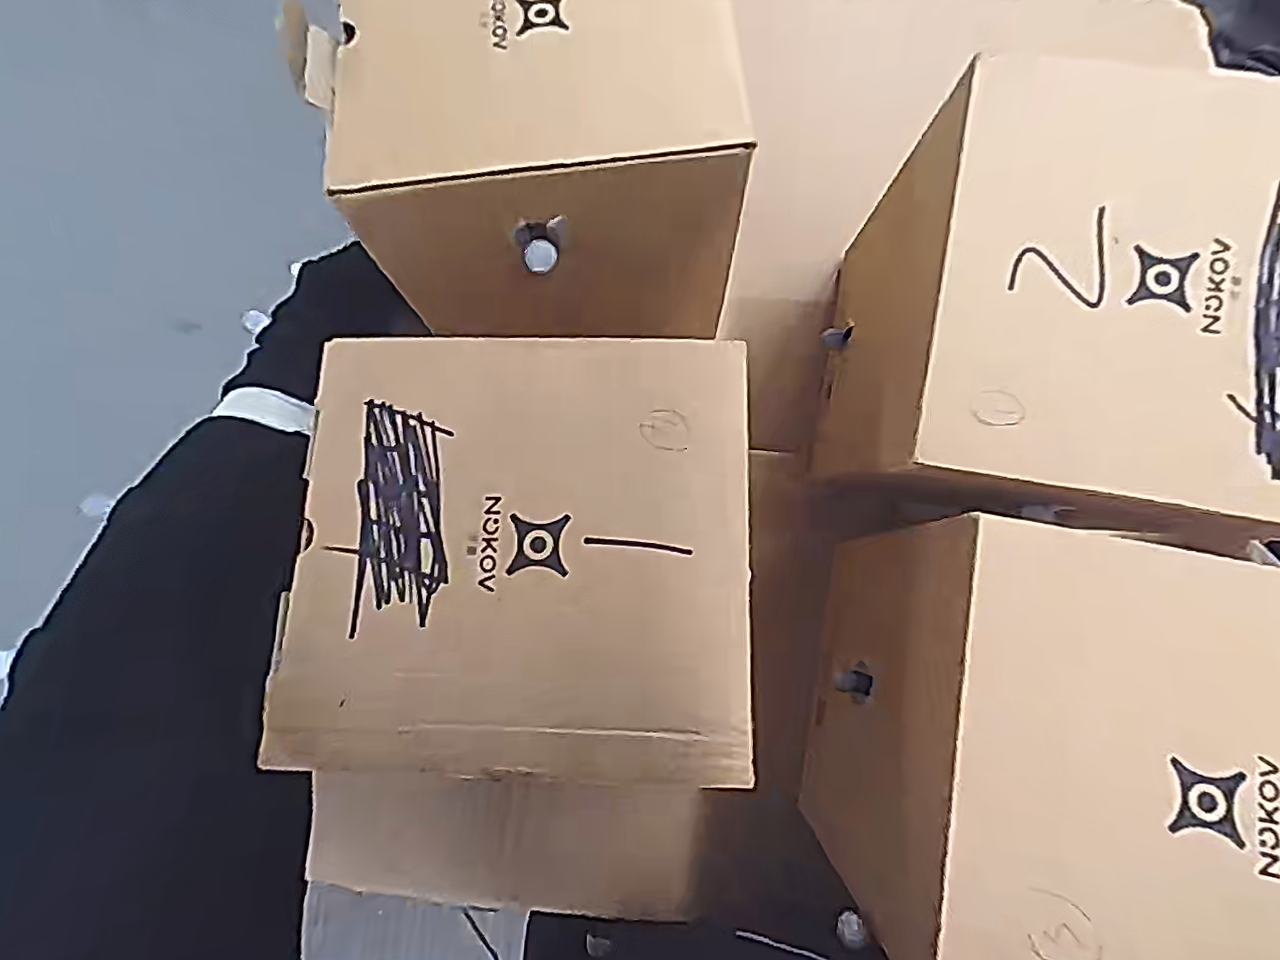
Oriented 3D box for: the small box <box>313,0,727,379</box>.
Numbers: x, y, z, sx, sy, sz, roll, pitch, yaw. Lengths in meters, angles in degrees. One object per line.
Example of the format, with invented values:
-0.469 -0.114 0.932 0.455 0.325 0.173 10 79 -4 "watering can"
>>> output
-0.055 -0.175 0.319 0.179 0.176 0.168 -7 75 2 "small box"
